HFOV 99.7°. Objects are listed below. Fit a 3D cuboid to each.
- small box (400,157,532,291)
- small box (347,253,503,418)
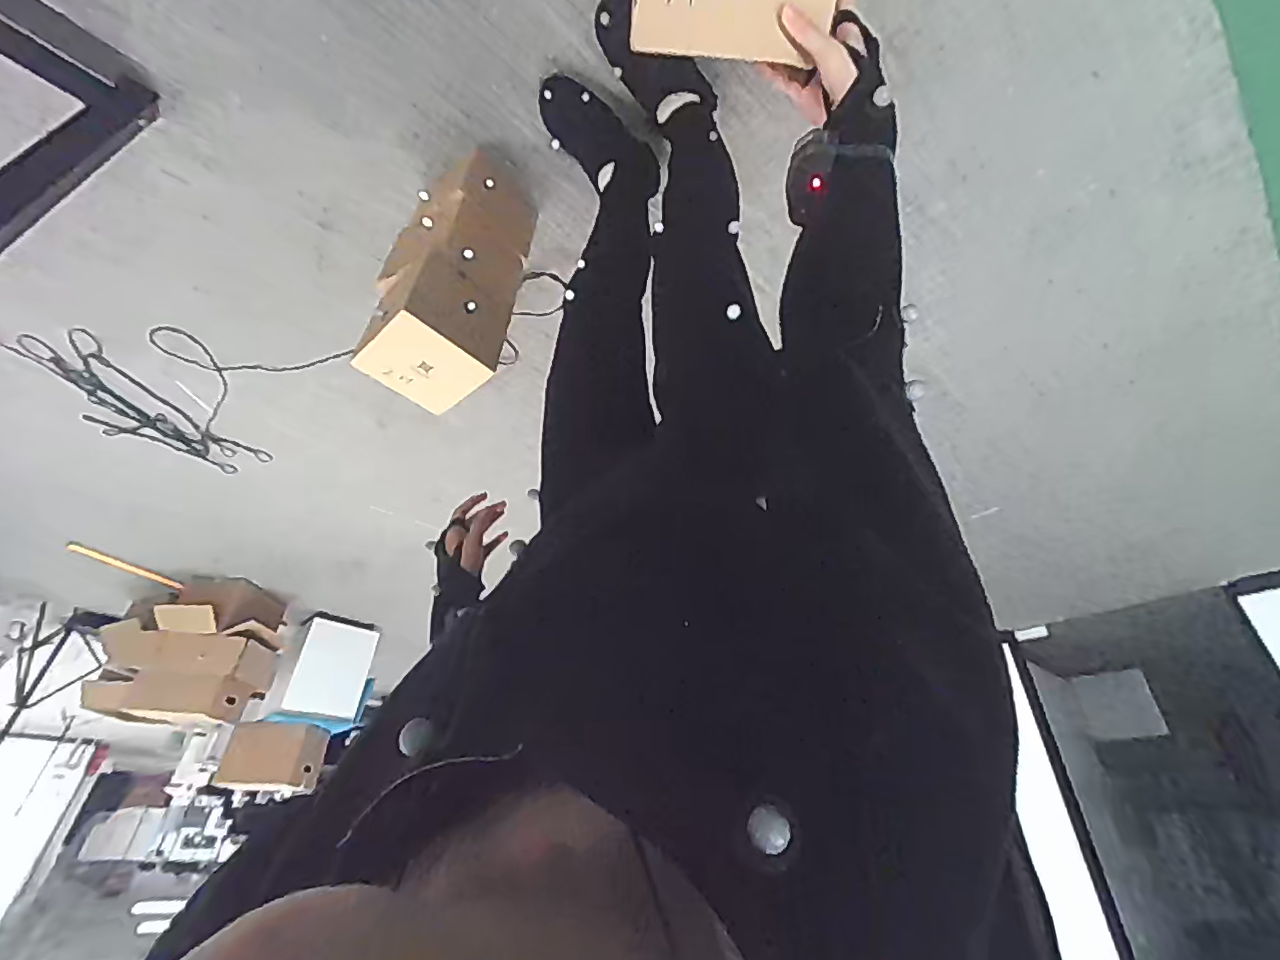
[{"bbox_3d":[-0.342,-0.512,1.091,0.168,0.176,0.179,-18,142,28],"label":"small box"},{"bbox_3d":[-0.349,-0.241,0.909,0.179,0.176,0.168,-23,138,34],"label":"small box"}]
